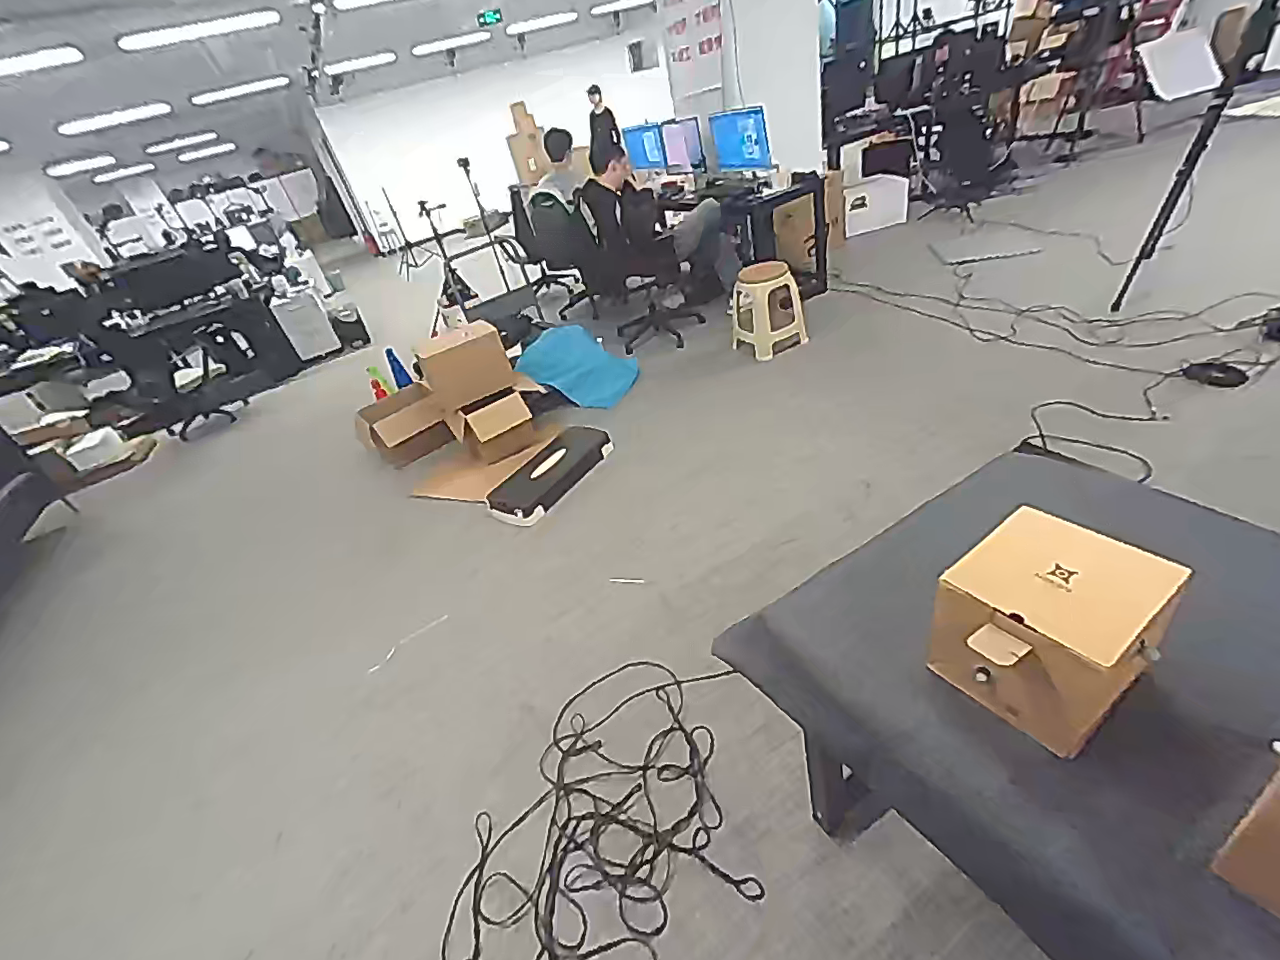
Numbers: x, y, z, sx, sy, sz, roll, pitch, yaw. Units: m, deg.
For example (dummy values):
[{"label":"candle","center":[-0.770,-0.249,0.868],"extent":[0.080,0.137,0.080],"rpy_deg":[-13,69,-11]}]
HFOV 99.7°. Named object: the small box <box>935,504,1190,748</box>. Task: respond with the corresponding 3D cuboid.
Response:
[{"label":"small box","center":[0.473,0.165,0.633],"extent":[0.179,0.176,0.168],"rpy_deg":[-31,38,-20]}]
